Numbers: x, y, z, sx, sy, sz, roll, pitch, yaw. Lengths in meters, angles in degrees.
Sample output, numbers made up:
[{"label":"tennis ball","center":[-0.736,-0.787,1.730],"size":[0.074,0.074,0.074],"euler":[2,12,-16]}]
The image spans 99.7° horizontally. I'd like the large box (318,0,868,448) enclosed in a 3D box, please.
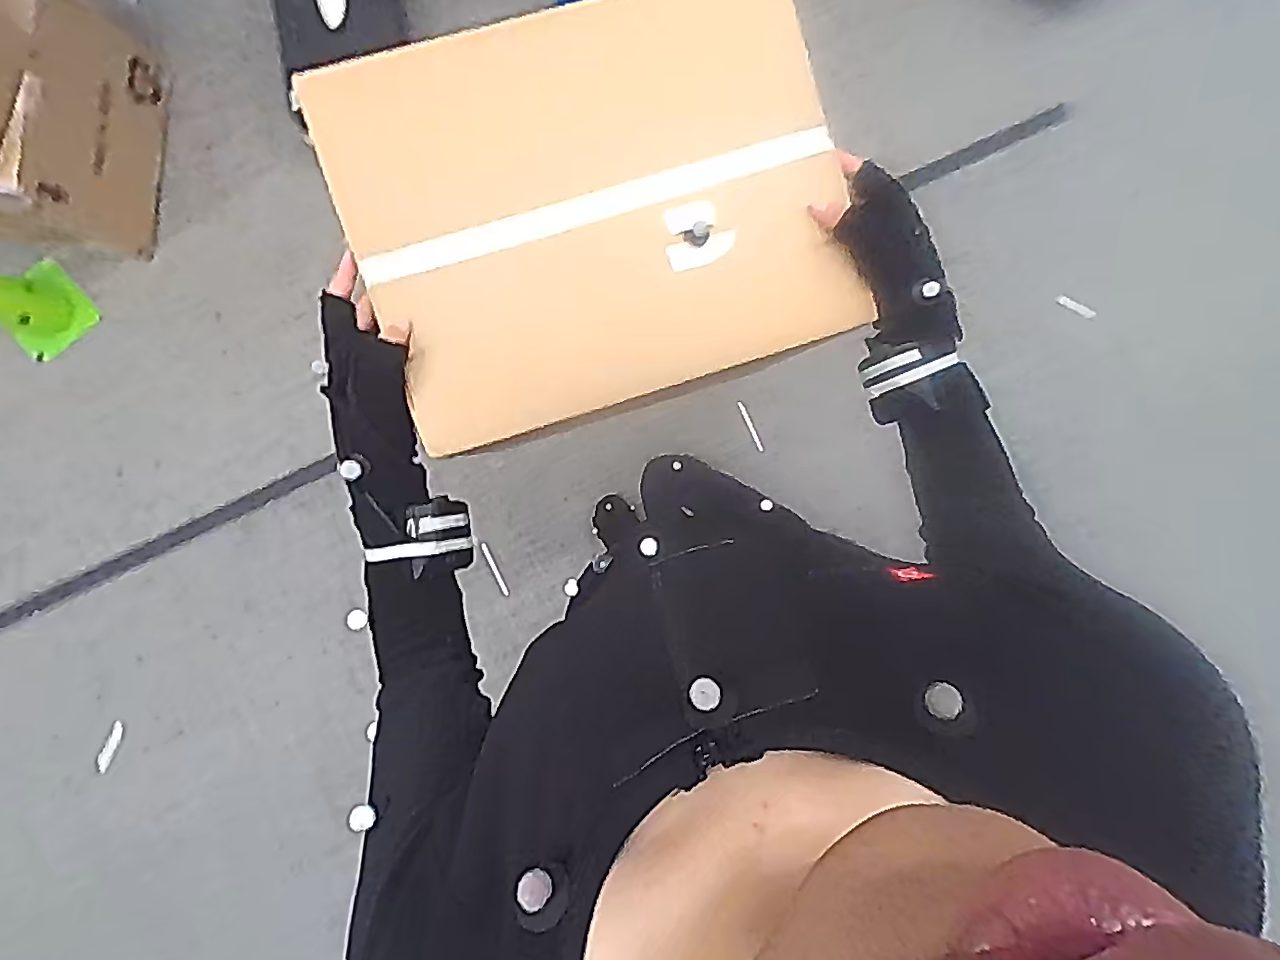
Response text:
[{"label":"large box","center":[-0.042,-0.242,0.606],"size":[0.408,0.320,0.320],"euler":[-18,96,-4]}]
